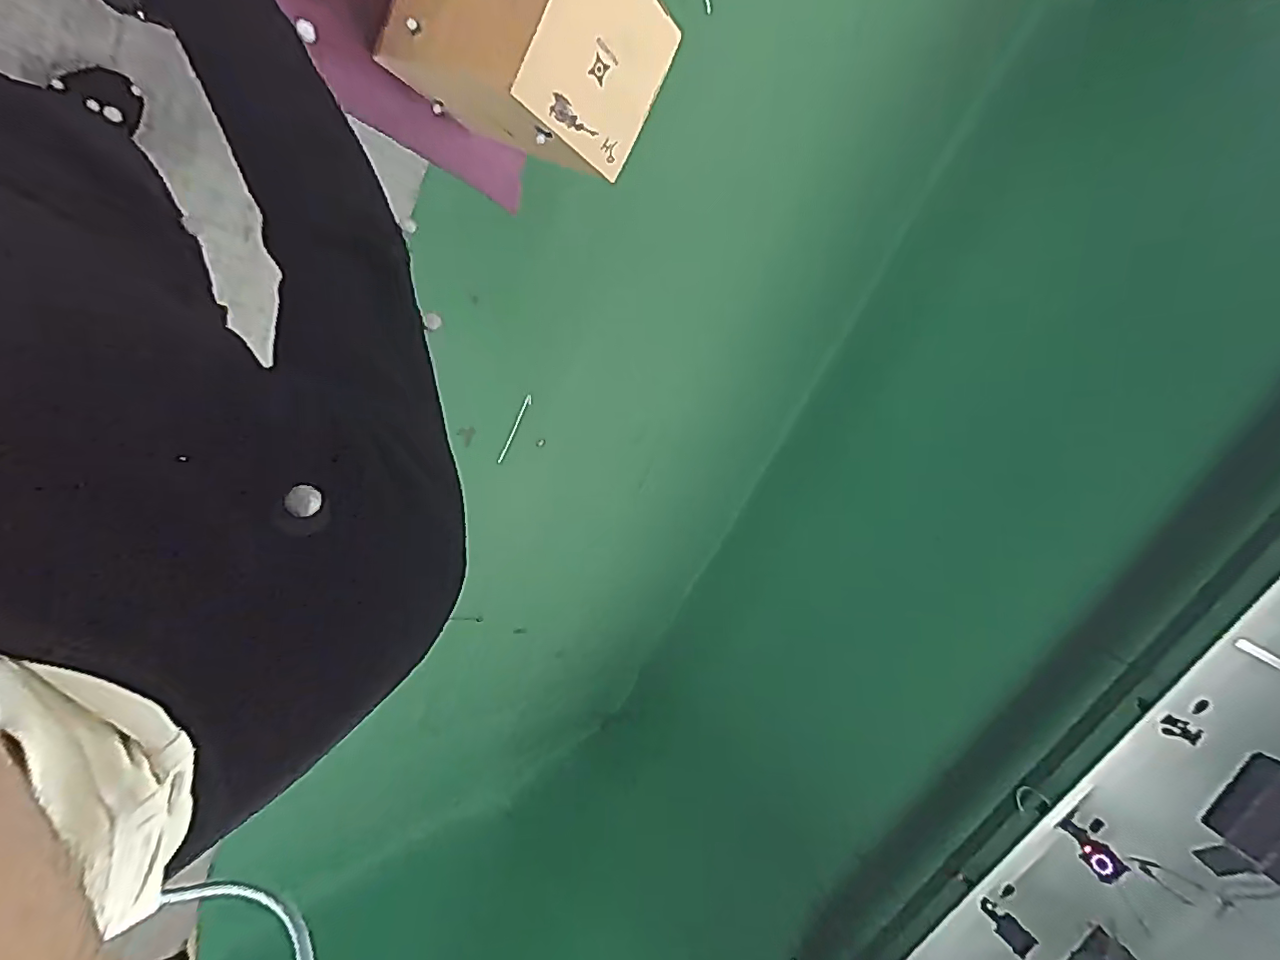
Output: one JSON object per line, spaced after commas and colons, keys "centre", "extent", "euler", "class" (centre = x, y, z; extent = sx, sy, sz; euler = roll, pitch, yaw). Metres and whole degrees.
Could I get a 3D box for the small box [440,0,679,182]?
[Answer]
{"centre": [-0.094, -0.478, 0.605], "extent": [0.168, 0.176, 0.179], "euler": [10, 112, -54], "class": "small box"}
